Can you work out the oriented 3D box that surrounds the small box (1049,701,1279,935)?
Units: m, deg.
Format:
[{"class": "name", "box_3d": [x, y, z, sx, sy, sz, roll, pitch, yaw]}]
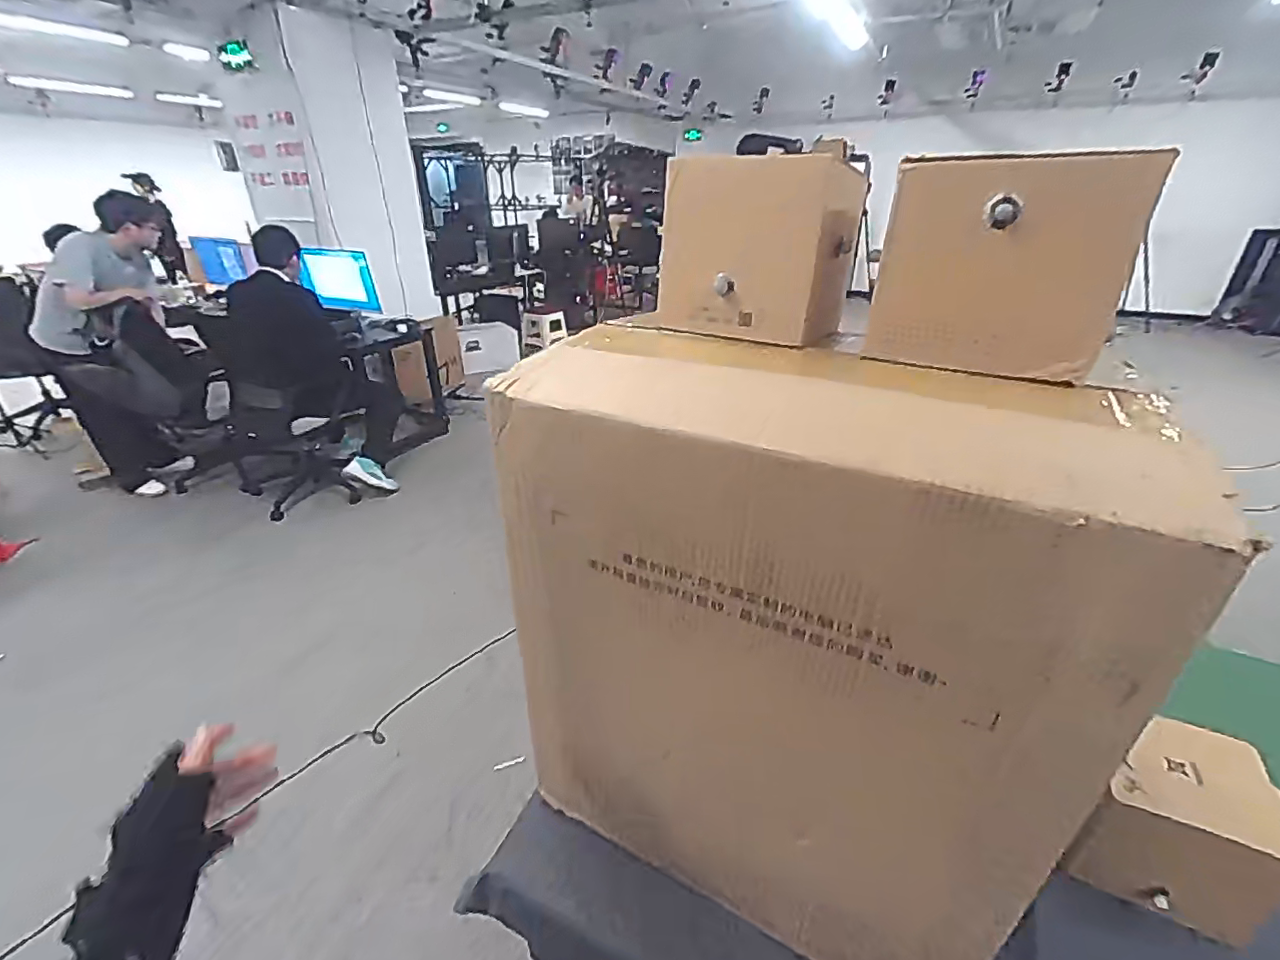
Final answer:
[{"class": "small box", "box_3d": [0.668, 0.432, 0.698, 0.179, 0.176, 0.168, 13, 31, 25]}]

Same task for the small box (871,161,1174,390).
[{"class": "small box", "box_3d": [0.331, -0.189, 0.506, 0.179, 0.176, 0.168, 16, 28, 25]}]
